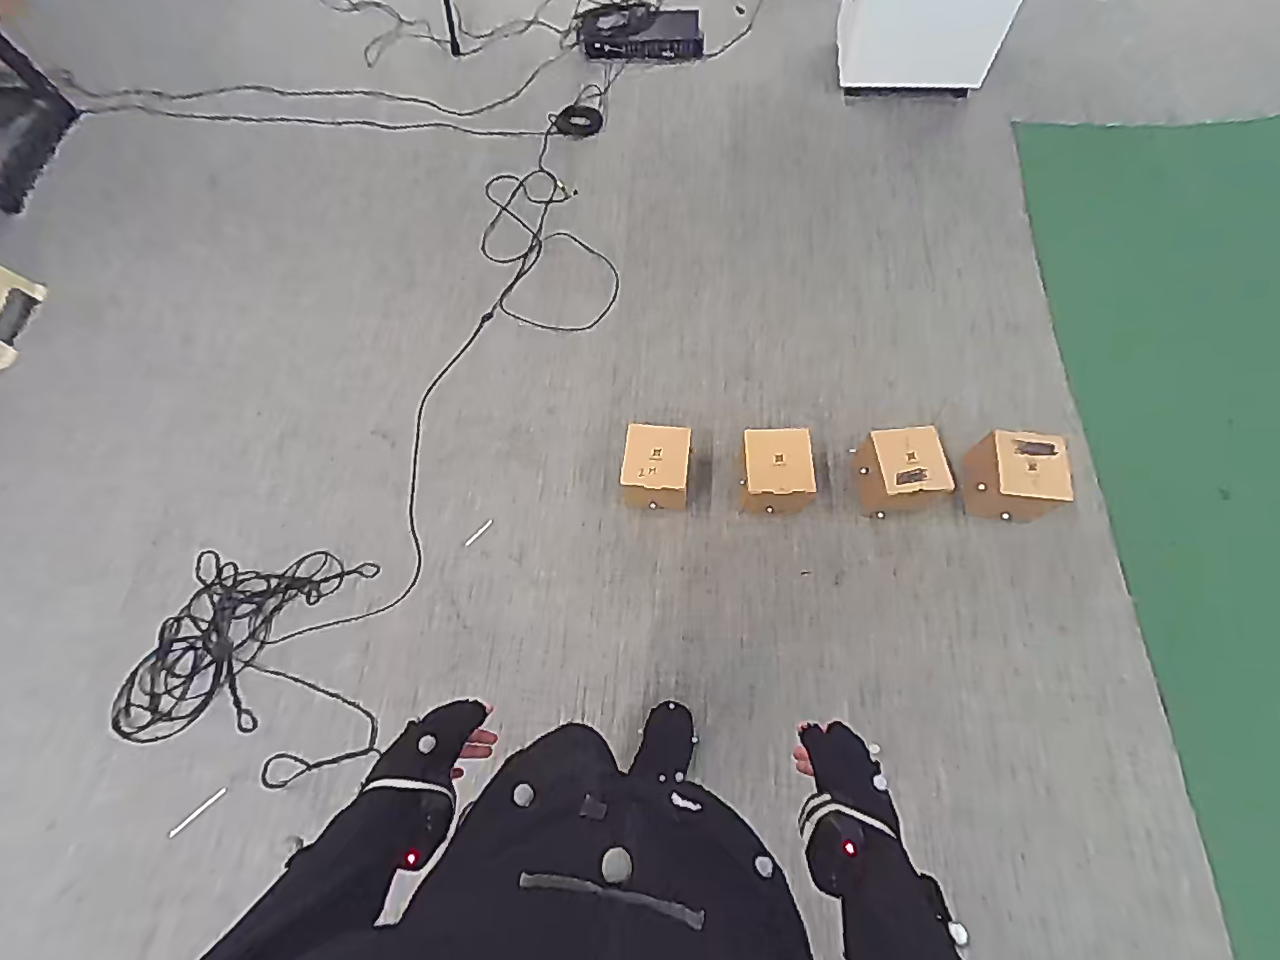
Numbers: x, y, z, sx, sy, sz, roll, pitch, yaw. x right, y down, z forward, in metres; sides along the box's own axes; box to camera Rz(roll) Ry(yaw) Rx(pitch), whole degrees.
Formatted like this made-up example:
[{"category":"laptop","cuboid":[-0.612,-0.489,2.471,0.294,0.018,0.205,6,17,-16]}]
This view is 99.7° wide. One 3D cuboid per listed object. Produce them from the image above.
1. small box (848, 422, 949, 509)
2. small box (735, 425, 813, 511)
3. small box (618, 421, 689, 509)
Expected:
[{"category":"small box","cuboid":[0.662,-0.030,1.404,0.168,0.176,0.179,-5,67,0]},{"category":"small box","cuboid":[0.345,-0.028,1.422,0.168,0.176,0.179,-2,68,3]},{"category":"small box","cuboid":[0.040,-0.038,1.442,0.168,0.176,0.179,5,68,6]}]
